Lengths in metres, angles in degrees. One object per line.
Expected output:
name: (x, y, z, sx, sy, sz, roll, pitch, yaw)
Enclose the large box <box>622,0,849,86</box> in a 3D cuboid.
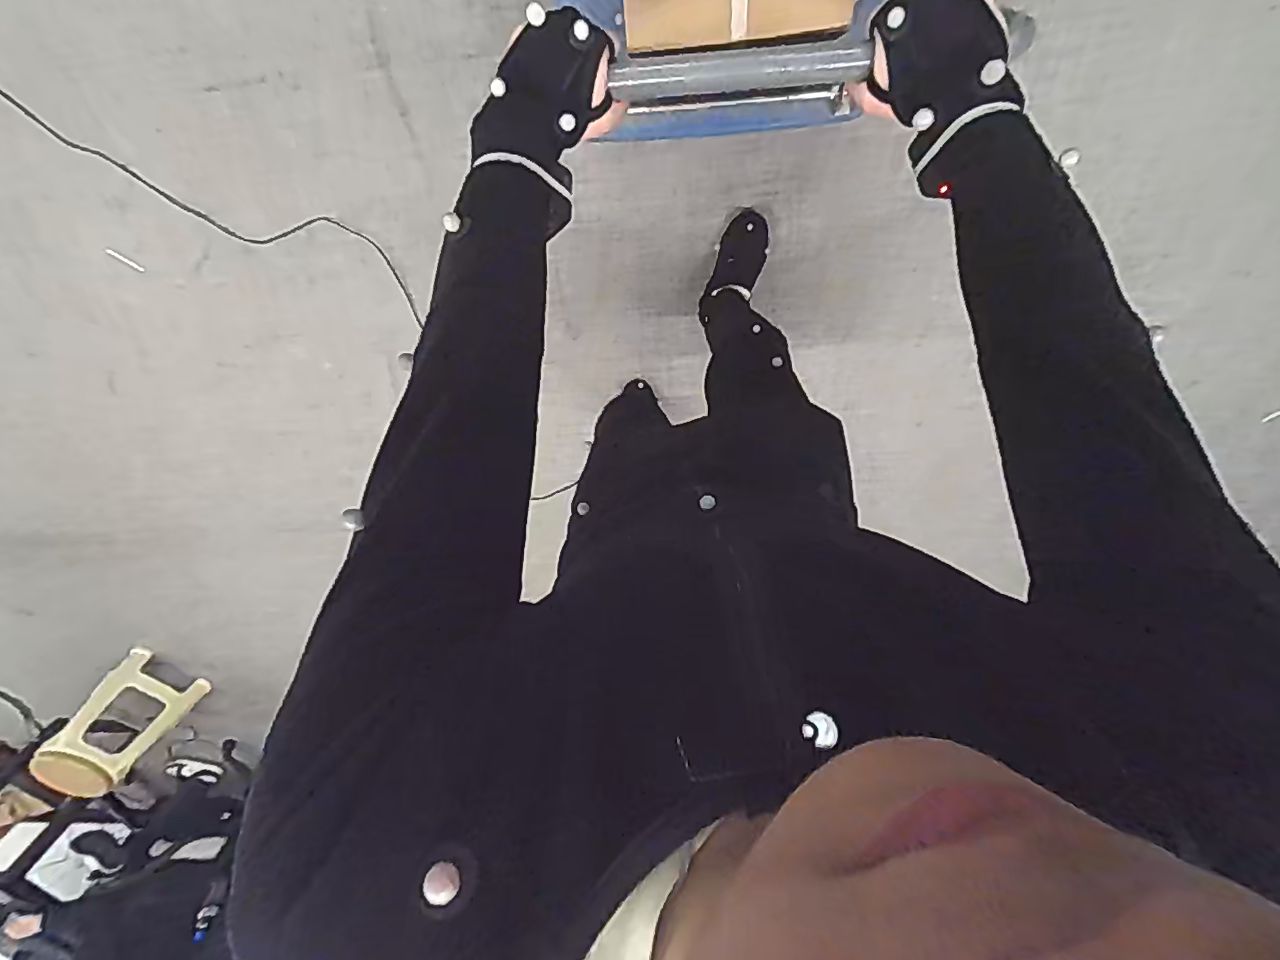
large box: (0.132, -0.862, 0.803, 0.320, 0.320, 0.408, -1, 121, 6)
